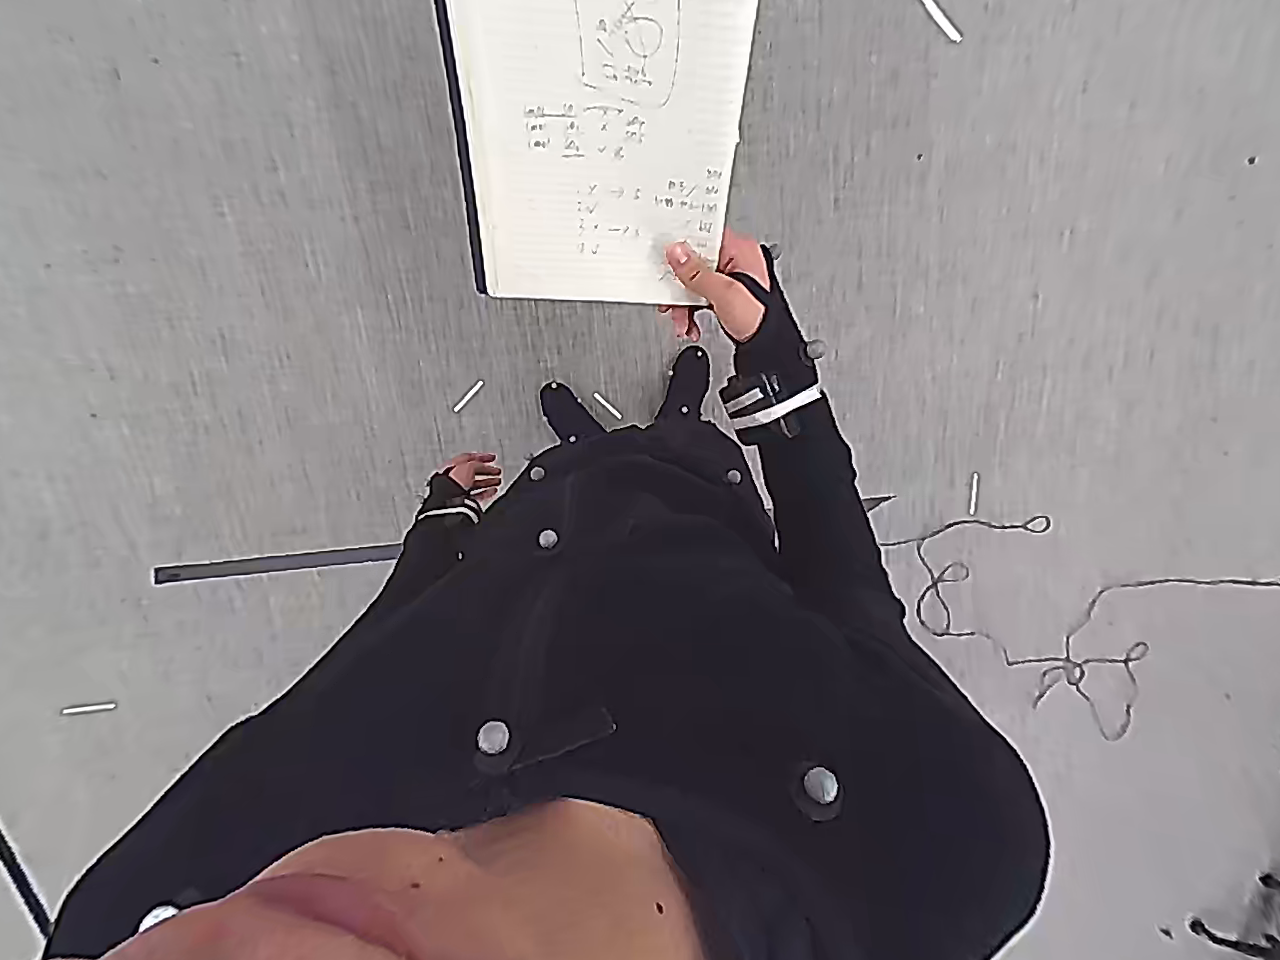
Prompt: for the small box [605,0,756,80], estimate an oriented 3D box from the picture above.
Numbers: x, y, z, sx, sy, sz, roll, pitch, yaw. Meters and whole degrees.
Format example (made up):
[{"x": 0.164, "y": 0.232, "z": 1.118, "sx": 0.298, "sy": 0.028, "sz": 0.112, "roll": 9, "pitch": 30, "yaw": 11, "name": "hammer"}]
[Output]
[{"x": 0.046, "y": -0.708, "z": 0.759, "sx": 0.179, "sy": 0.176, "sz": 0.168, "roll": -18, "pitch": 106, "yaw": 1, "name": "small box"}]
